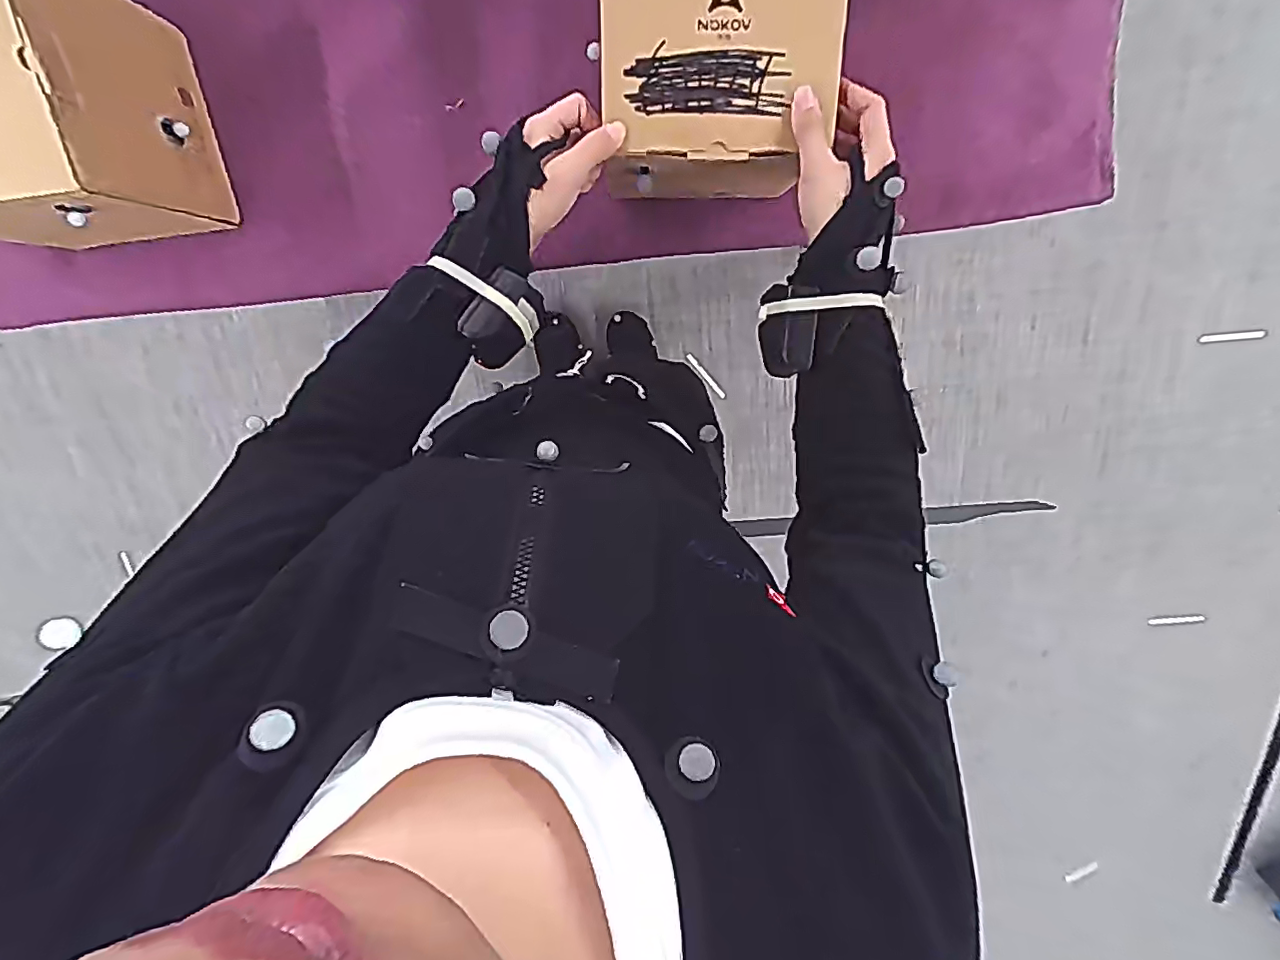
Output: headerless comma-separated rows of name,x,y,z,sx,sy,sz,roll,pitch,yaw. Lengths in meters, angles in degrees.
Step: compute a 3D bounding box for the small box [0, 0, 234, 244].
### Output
small box,-0.494,-0.299,0.442,0.179,0.176,0.168,-8,107,1
